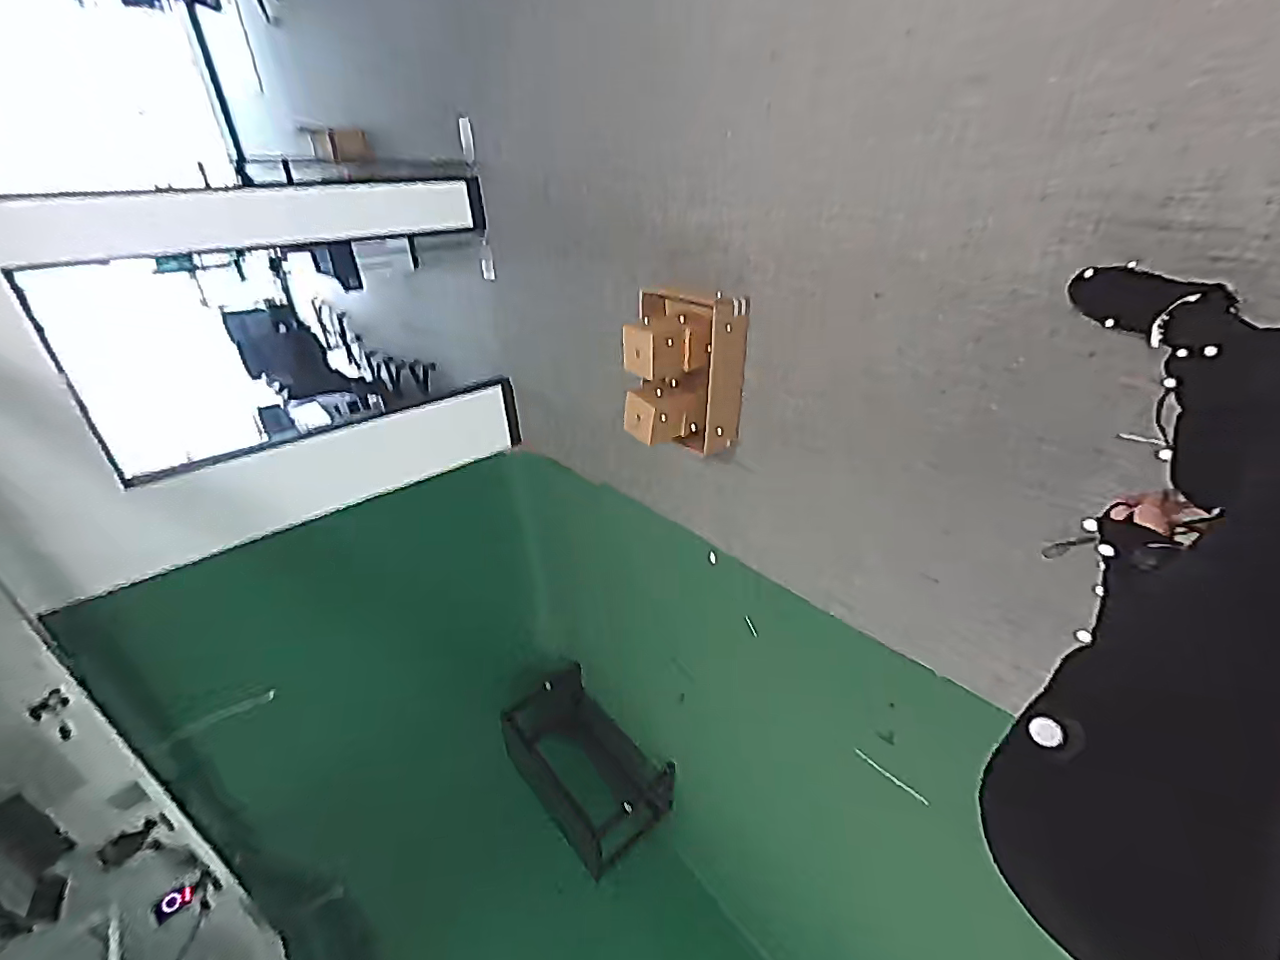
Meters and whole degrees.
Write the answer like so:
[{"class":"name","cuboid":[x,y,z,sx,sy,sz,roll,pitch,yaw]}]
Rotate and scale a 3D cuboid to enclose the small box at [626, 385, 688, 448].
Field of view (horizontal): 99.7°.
[{"class":"small box","cuboid":[0.069,-0.259,2.141,0.168,0.176,0.179,39,136,35]}]
